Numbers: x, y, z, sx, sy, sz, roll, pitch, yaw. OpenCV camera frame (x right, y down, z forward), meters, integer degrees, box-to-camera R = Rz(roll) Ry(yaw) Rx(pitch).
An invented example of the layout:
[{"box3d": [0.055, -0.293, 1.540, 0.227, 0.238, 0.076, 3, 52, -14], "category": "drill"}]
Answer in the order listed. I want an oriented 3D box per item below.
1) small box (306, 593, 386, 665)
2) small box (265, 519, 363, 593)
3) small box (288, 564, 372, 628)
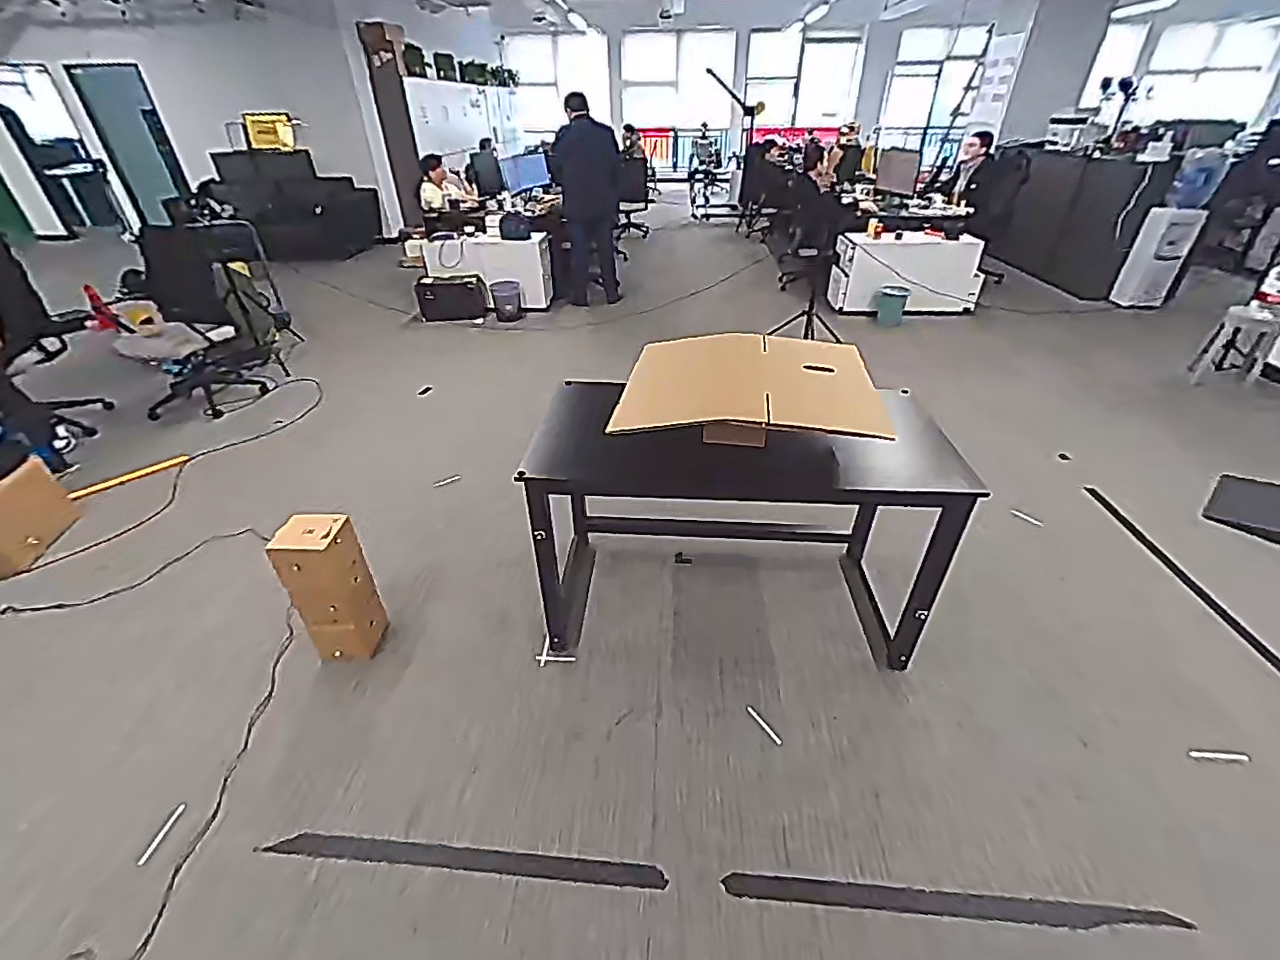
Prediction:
[{"box3d": [-0.994, 0.507, 1.850, 0.168, 0.176, 0.179, -1, 35, 1], "category": "small box"}, {"box3d": [-0.996, 0.236, 1.669, 0.179, 0.176, 0.168, -1, 34, 0], "category": "small box"}, {"box3d": [-0.999, 0.369, 1.763, 0.168, 0.176, 0.179, -1, 33, -3], "category": "small box"}]
